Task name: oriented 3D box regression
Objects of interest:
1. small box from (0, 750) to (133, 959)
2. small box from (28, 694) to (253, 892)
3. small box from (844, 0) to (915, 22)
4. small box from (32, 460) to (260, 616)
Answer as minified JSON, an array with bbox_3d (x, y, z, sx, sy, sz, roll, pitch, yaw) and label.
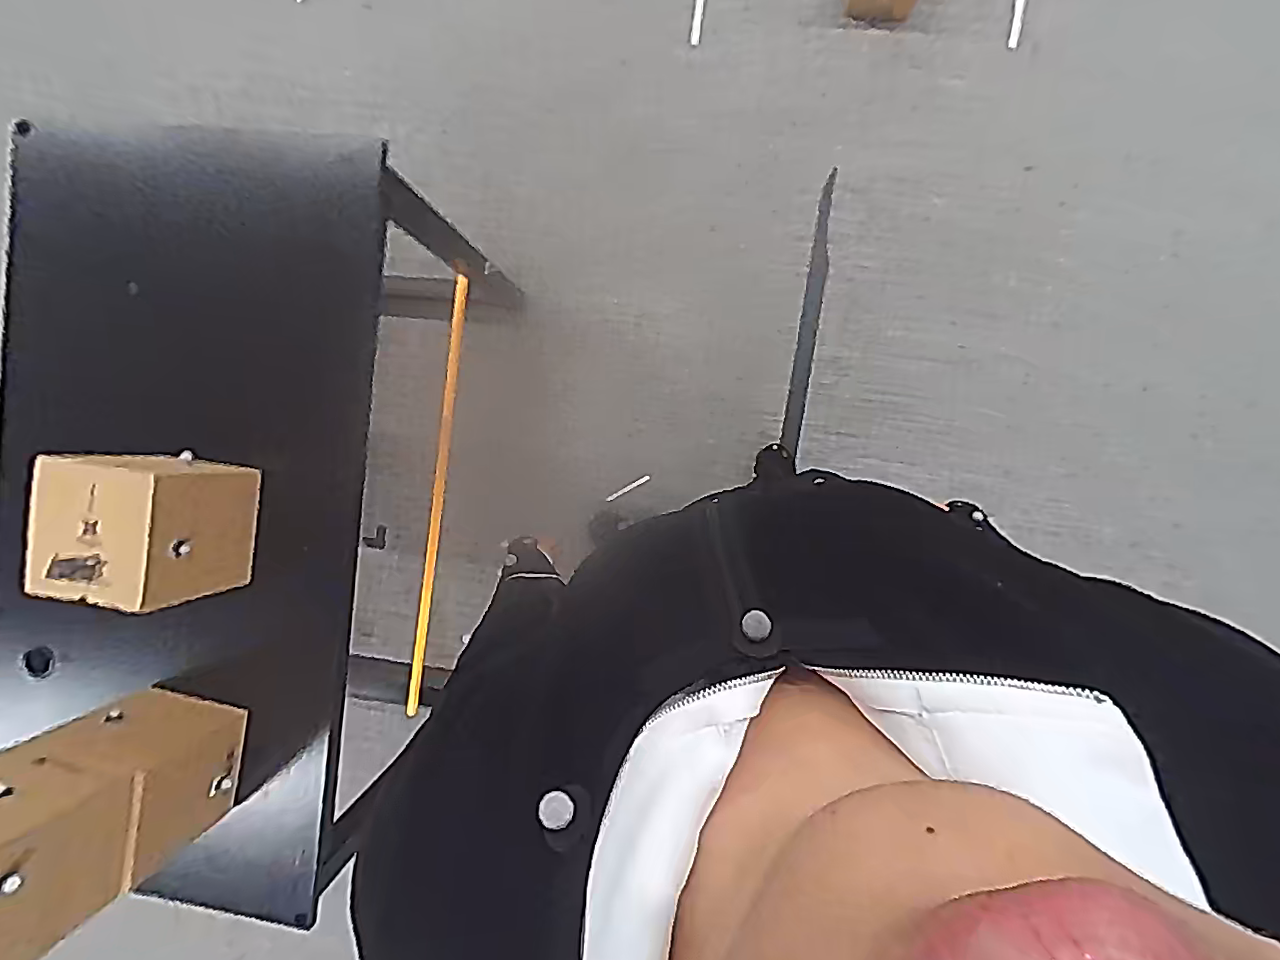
[{"bbox_3d":[-0.731,0.440,0.610,0.168,0.176,0.179,10,94,6],"label":"small box"},{"bbox_3d":[-0.708,0.429,0.773,0.179,0.176,0.168,10,94,4],"label":"small box"},{"bbox_3d":[0.606,-1.261,1.306,0.168,0.176,0.179,9,94,5],"label":"small box"},{"bbox_3d":[-0.670,0.070,0.752,0.168,0.176,0.179,8,93,5],"label":"small box"}]
